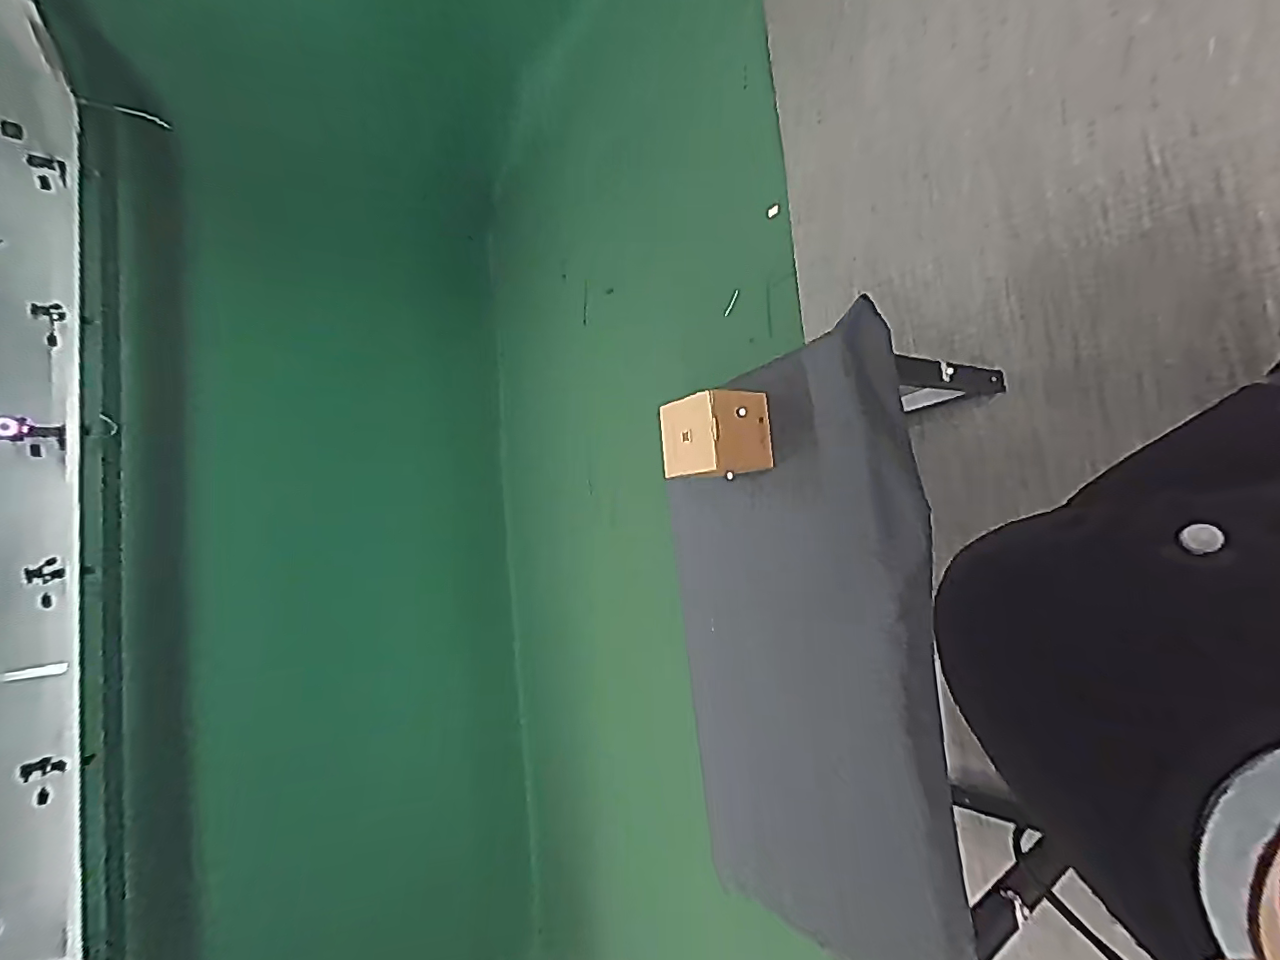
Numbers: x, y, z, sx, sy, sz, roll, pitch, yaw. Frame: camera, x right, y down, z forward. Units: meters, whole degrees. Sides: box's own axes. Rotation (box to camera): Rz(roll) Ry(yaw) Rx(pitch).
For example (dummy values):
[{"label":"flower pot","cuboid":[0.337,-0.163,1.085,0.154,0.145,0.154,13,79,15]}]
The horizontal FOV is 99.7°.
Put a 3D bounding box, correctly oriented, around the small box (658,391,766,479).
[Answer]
[{"label":"small box","cuboid":[0.162,-0.093,1.195,0.179,0.176,0.168,-11,81,56]}]
